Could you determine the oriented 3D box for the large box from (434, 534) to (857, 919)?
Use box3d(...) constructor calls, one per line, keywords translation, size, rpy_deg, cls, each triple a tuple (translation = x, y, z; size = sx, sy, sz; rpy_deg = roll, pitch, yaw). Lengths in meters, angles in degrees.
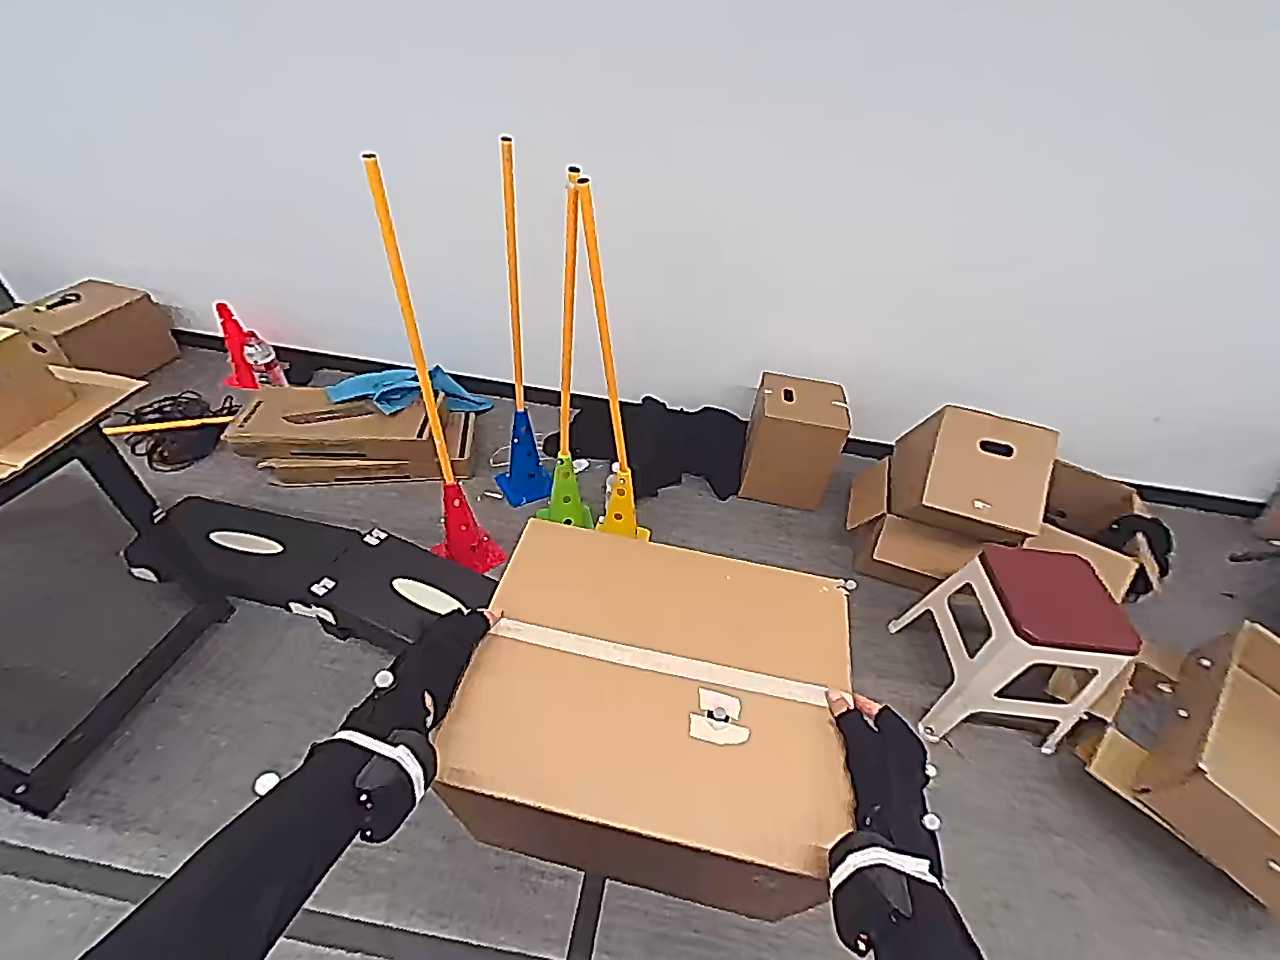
box3d(translation=(0.014, 0.314, 0.698), size=(0.408, 0.320, 0.320), rpy_deg=(11, 47, 5), cls="large box")
